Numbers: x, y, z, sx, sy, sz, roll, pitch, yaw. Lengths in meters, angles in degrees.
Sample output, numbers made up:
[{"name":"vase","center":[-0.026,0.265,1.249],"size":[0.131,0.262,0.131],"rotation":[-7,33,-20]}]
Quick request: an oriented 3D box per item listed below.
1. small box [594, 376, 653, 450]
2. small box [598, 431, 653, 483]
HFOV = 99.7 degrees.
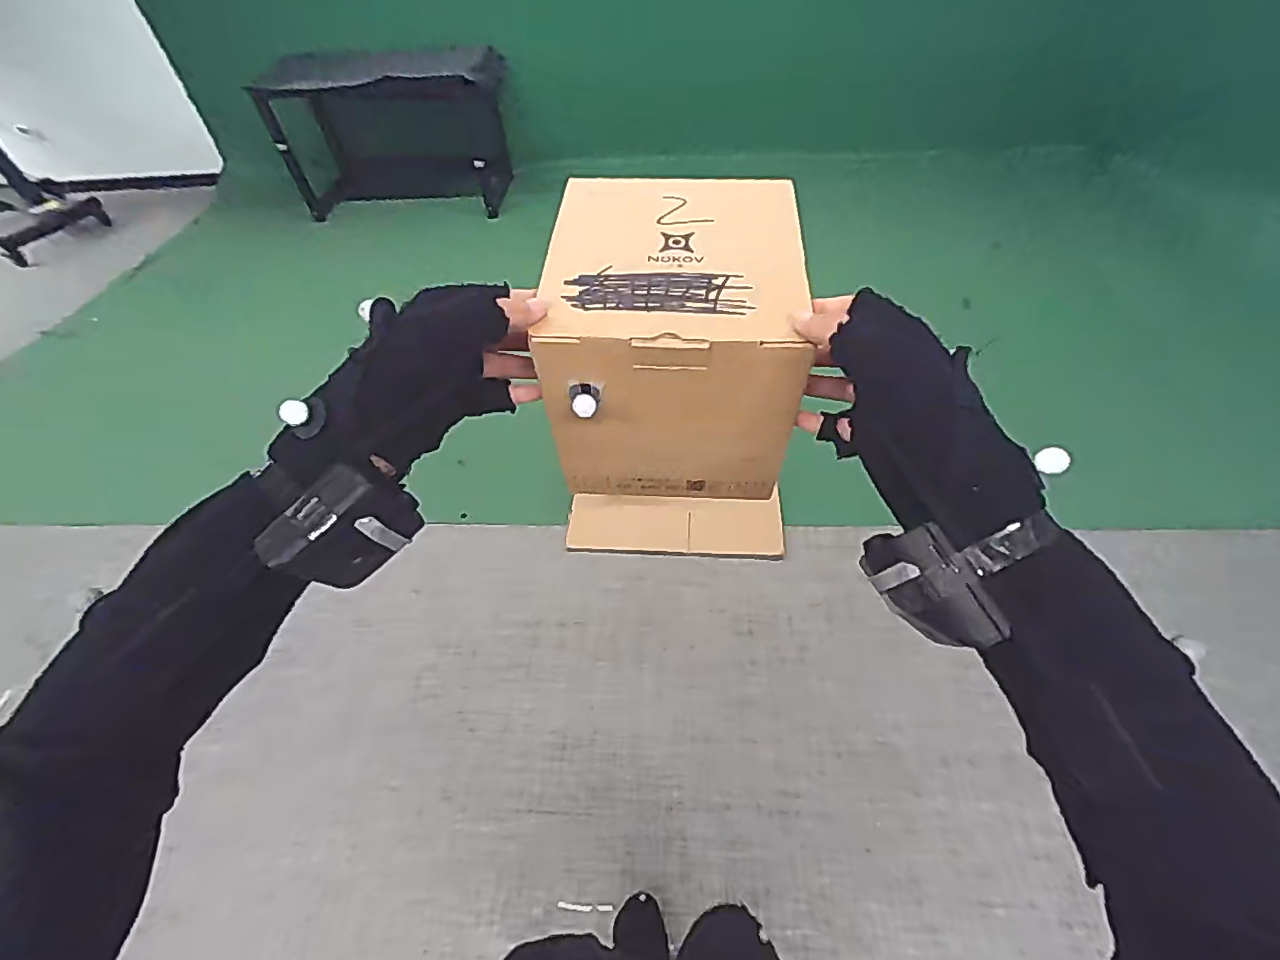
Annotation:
[{"name":"small box","center":[-0.047,-0.219,1.770],"size":[0.168,0.176,0.179],"rotation":[3,50,7]},{"name":"small box","center":[-0.044,-0.103,1.884],"size":[0.168,0.176,0.179],"rotation":[2,48,7]}]
